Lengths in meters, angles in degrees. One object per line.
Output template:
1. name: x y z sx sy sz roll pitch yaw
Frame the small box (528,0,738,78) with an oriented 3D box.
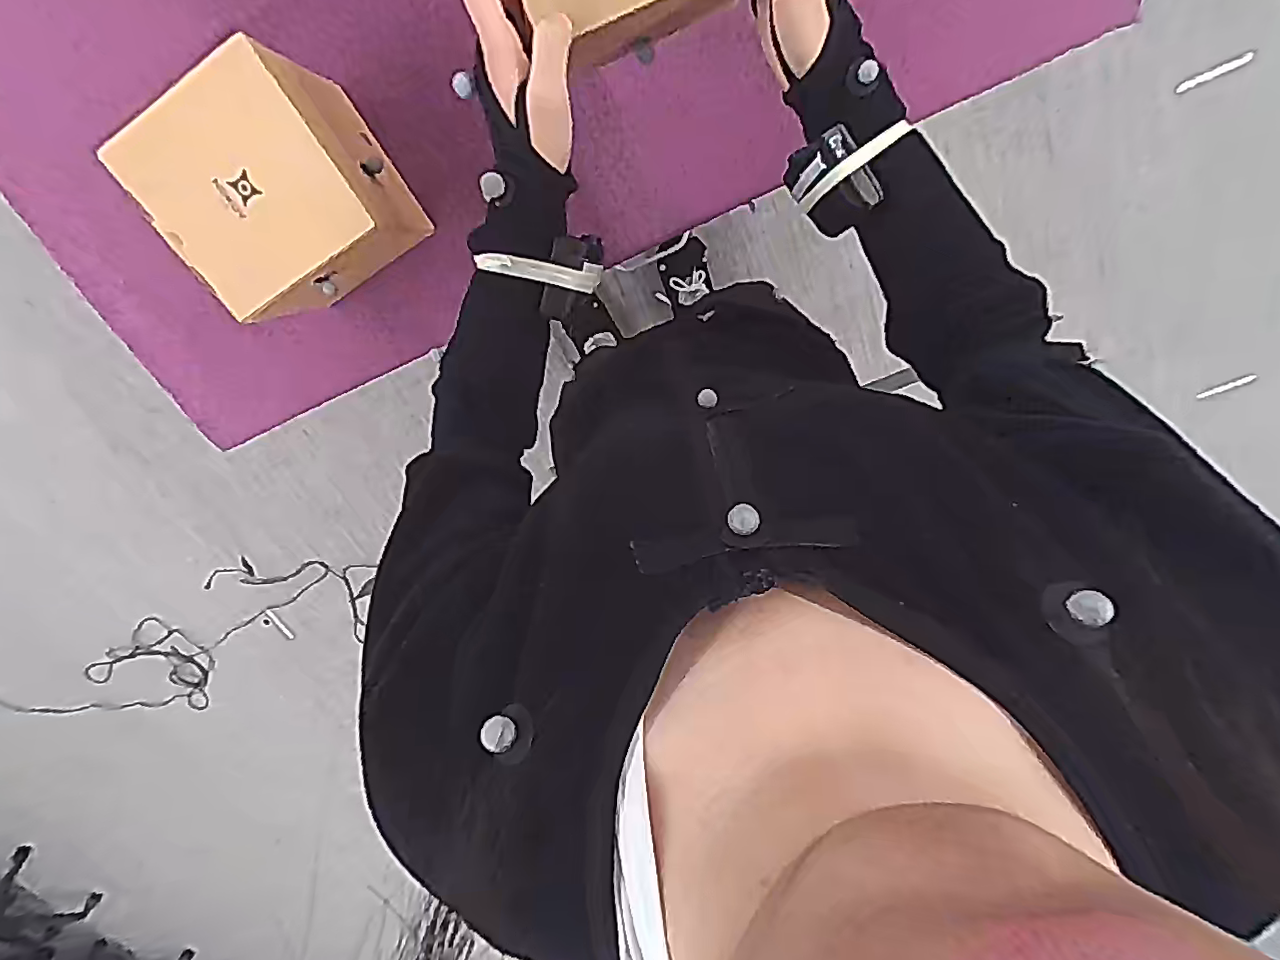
1. small box: -0.017 -0.407 0.360 0.168 0.176 0.179 -19 120 7

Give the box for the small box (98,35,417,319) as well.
1. small box: -0.356 -0.291 0.551 0.179 0.176 0.168 -28 112 12
